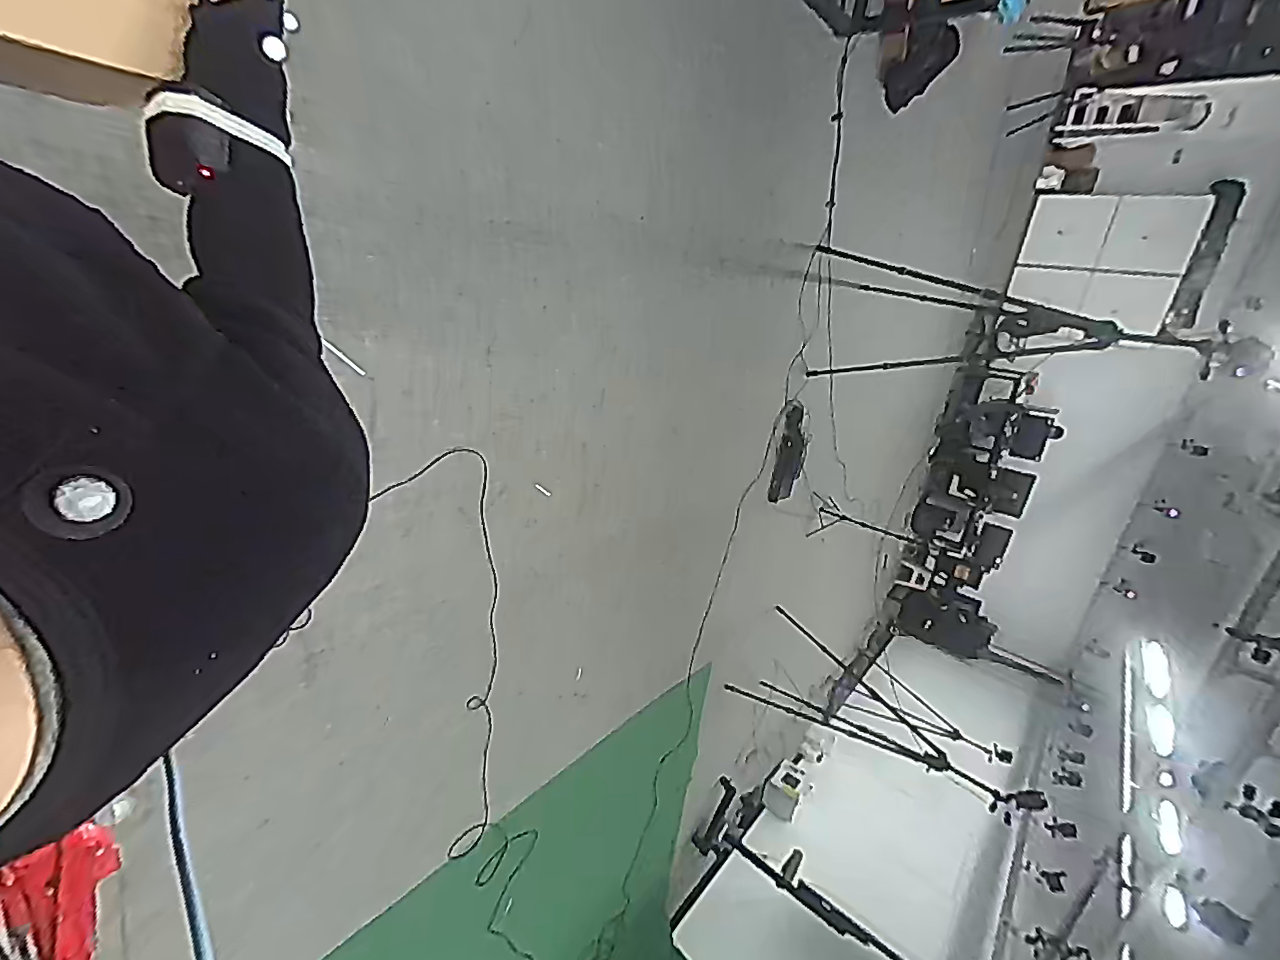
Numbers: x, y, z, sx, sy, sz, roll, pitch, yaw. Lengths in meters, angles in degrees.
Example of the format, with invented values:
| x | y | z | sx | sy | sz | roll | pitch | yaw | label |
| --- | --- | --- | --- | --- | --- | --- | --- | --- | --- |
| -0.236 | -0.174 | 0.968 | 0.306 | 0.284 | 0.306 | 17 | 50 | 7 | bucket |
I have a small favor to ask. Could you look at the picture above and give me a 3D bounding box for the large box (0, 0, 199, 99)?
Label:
| x | y | z | sx | sy | sz | roll | pitch | yaw | label |
| --- | --- | --- | --- | --- | --- | --- | --- | --- | --- |
| -0.586 | -0.469 | 0.326 | 0.408 | 0.320 | 0.320 | -20 | 124 | -51 | large box |
